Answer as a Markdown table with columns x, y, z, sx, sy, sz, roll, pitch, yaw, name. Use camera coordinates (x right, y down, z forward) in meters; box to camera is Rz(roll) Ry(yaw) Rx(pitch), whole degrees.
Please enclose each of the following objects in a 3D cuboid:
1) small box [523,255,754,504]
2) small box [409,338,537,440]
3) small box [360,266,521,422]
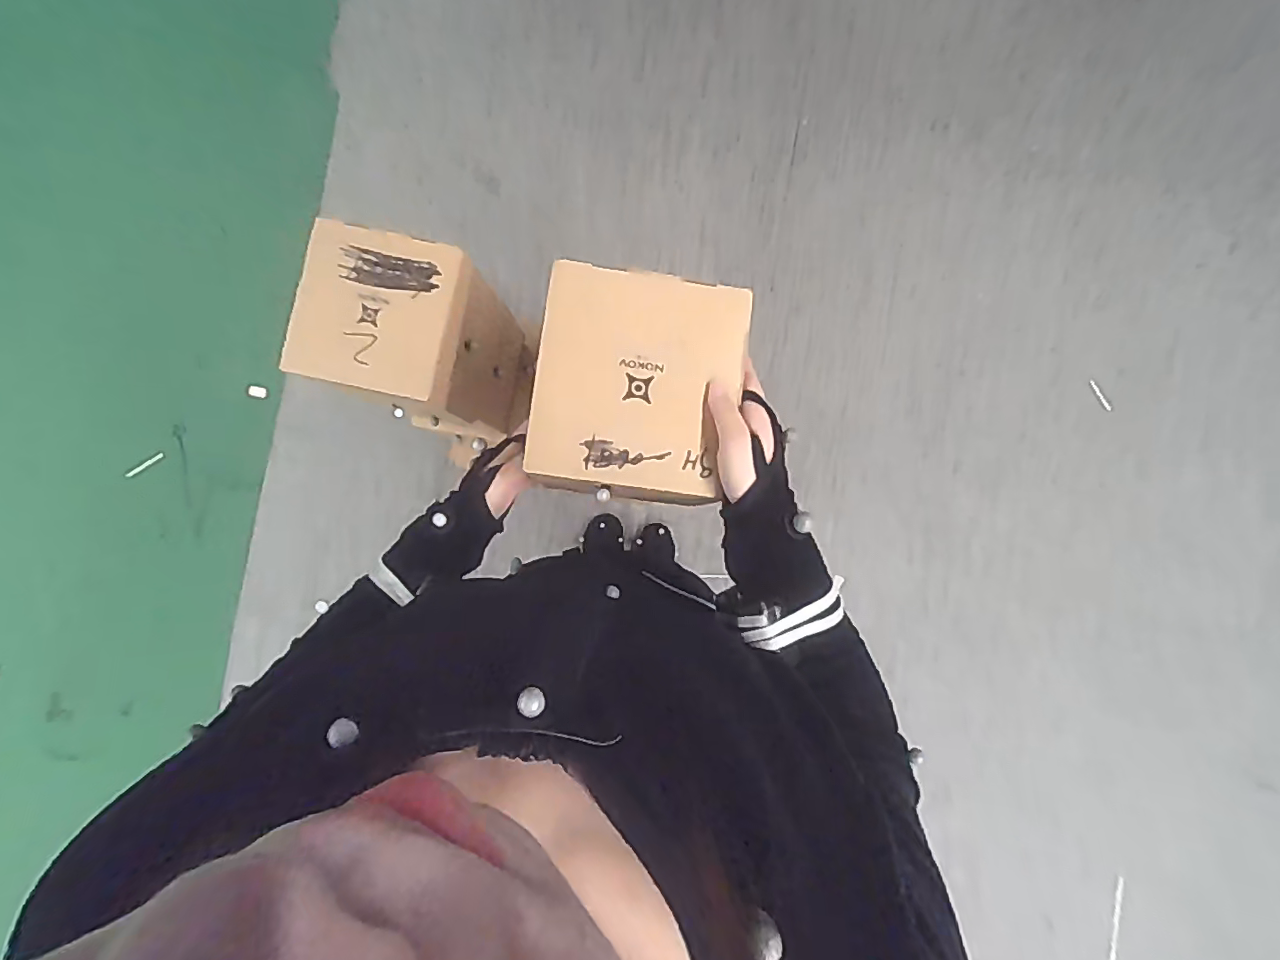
| x | y | z | sx | sy | sz | roll | pitch | yaw | name |
| --- | --- | --- | --- | --- | --- | --- | --- | --- | --- |
| -0.005 | -0.077 | 0.510 | 0.168 | 0.176 | 0.179 | 9 | 86 | -3 | small box |
| -0.294 | -0.175 | 0.989 | 0.168 | 0.176 | 0.179 | 11 | 88 | -1 | small box |
| -0.291 | -0.194 | 0.825 | 0.168 | 0.176 | 0.179 | 12 | 88 | -1 | small box |
